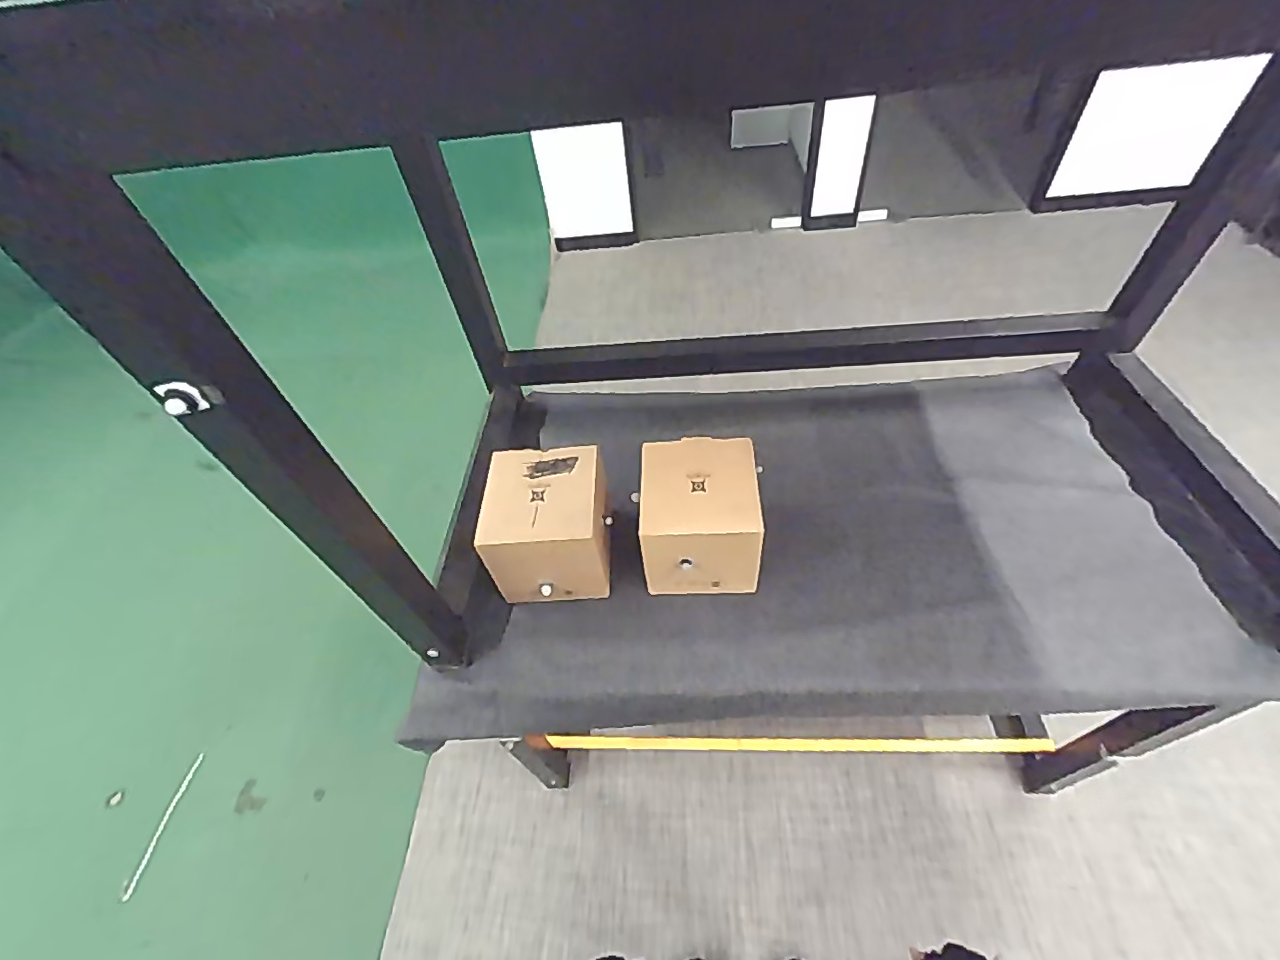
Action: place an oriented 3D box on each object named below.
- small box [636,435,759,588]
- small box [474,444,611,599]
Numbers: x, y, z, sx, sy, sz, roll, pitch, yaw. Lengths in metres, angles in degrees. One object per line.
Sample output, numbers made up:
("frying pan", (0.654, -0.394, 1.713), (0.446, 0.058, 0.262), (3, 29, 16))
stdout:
("small box", (0.088, 0.054, 0.823), (0.168, 0.176, 0.179), (-2, 49, 5))
("small box", (-0.138, 0.066, 0.839), (0.168, 0.176, 0.179), (-4, 49, 4))
